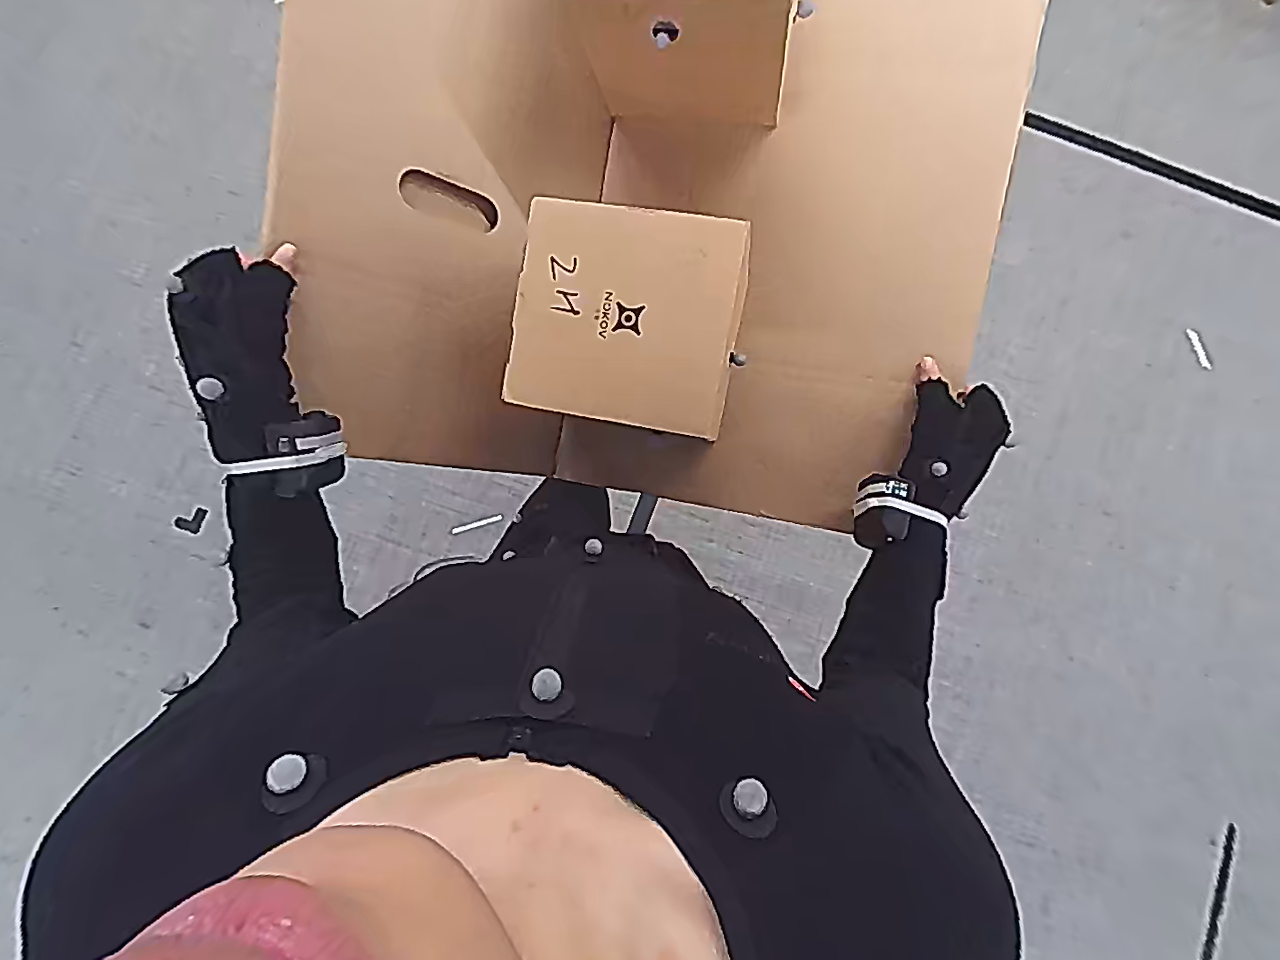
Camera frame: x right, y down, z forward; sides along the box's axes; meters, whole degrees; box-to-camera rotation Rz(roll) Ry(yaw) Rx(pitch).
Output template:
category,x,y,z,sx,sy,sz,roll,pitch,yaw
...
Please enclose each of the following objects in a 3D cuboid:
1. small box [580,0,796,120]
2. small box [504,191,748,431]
category,x,y,z,sx,sy,sz,roll,pitch,yaw
small box,0.051,-0.455,0.483,0.179,0.176,0.168,10,95,9
small box,-0.002,-0.143,0.511,0.179,0.176,0.168,12,96,9
